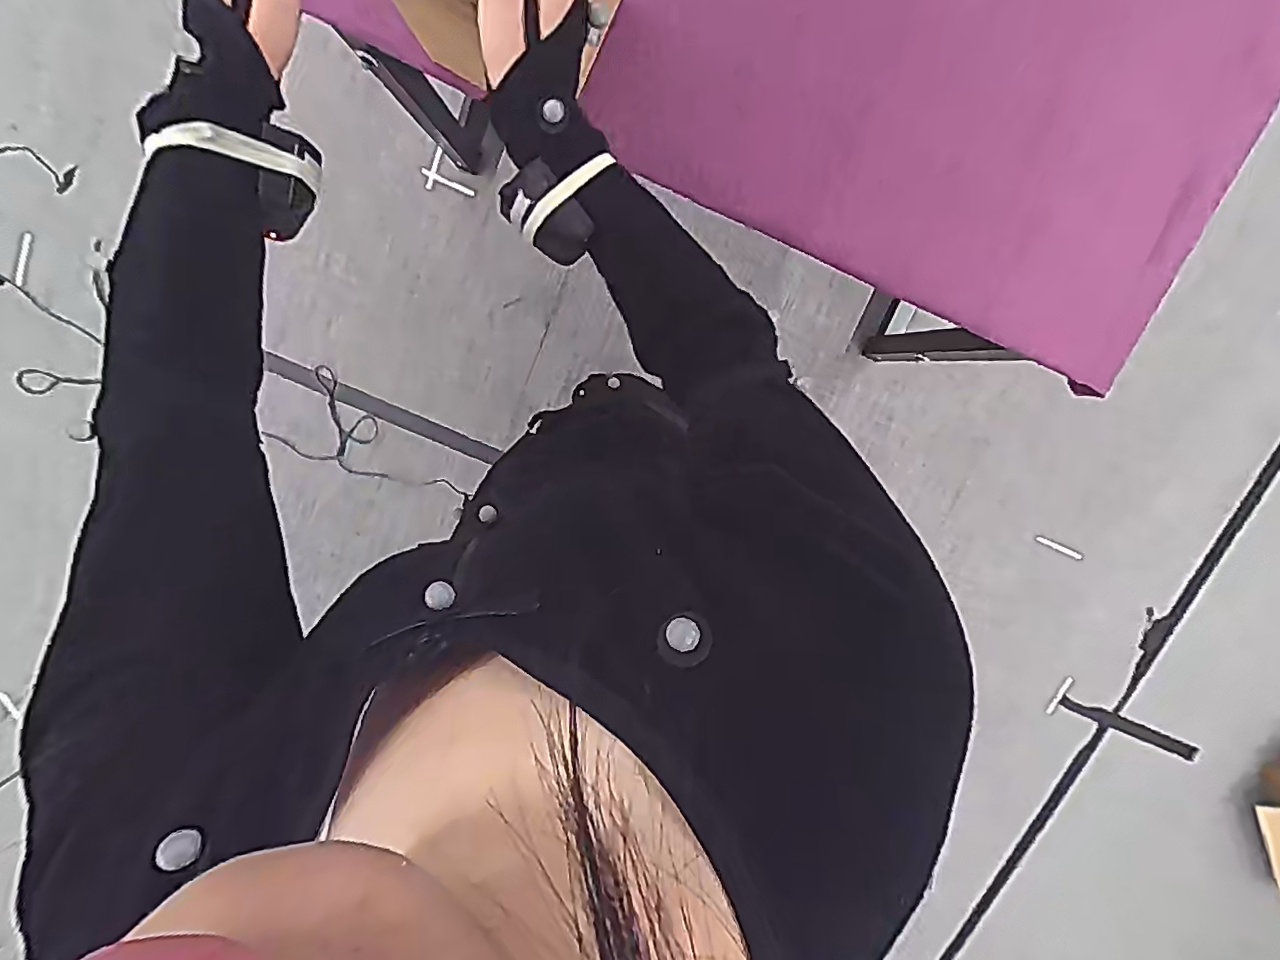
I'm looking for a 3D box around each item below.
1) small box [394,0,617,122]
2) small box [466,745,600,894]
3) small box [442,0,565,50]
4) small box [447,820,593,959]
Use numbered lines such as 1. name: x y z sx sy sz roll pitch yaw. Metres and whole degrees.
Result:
1. small box: -0.131 -0.513 0.559 0.179 0.176 0.168 27 100 -7
2. small box: -0.176 0.611 0.946 0.168 0.176 0.179 24 102 -7
3. small box: -0.121 -0.484 0.397 0.168 0.176 0.179 26 102 -7
4. small box: -0.173 0.645 0.787 0.168 0.176 0.179 22 102 -6
